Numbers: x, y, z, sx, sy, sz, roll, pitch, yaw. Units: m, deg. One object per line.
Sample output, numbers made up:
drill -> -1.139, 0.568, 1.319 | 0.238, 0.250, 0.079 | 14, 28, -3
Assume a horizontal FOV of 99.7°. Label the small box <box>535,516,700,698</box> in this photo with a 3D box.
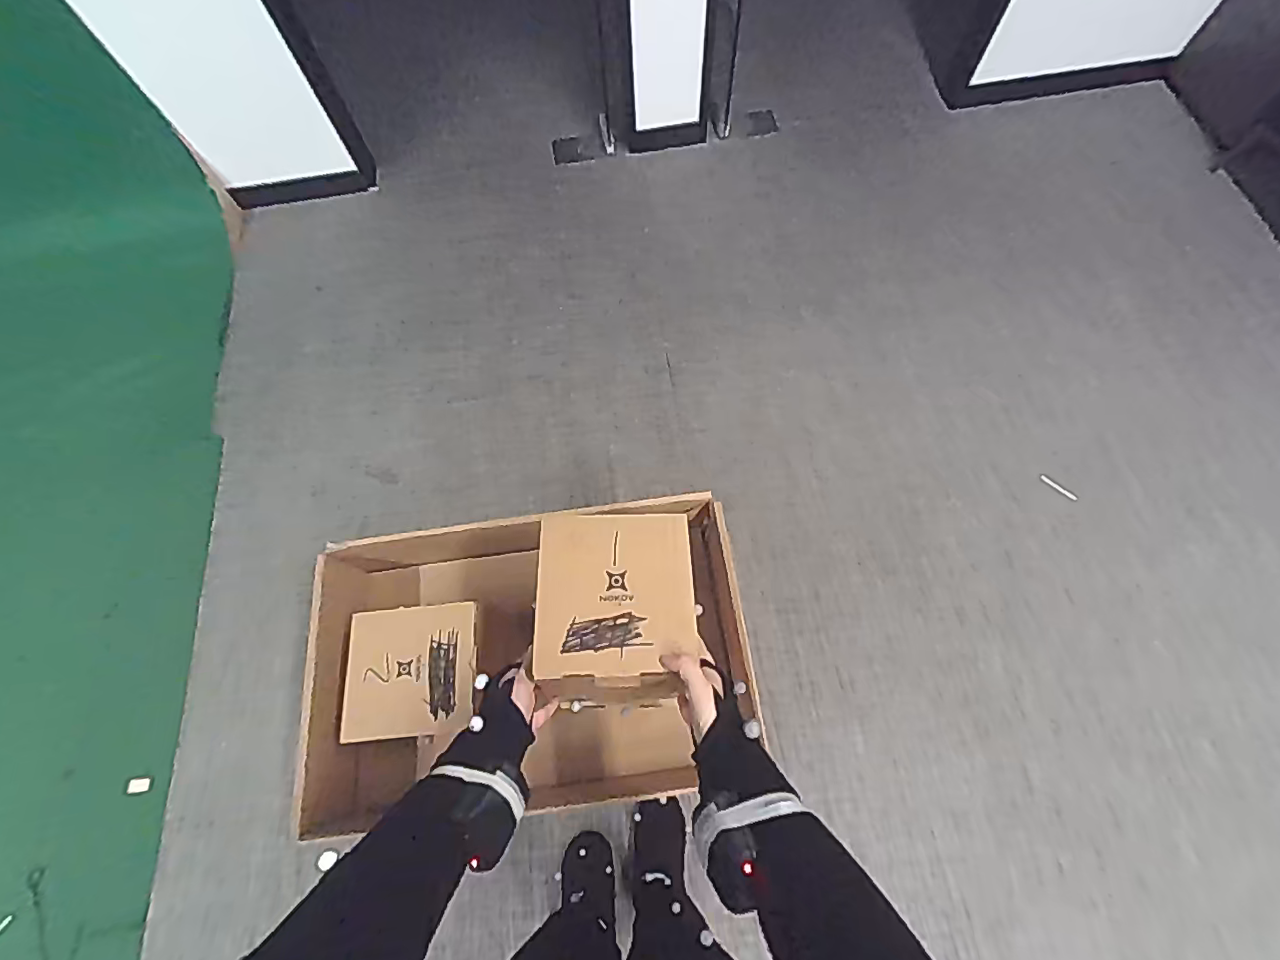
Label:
small box -> -0.025, 0.156, 0.637 | 0.168, 0.176, 0.179 | 0, 60, -3
